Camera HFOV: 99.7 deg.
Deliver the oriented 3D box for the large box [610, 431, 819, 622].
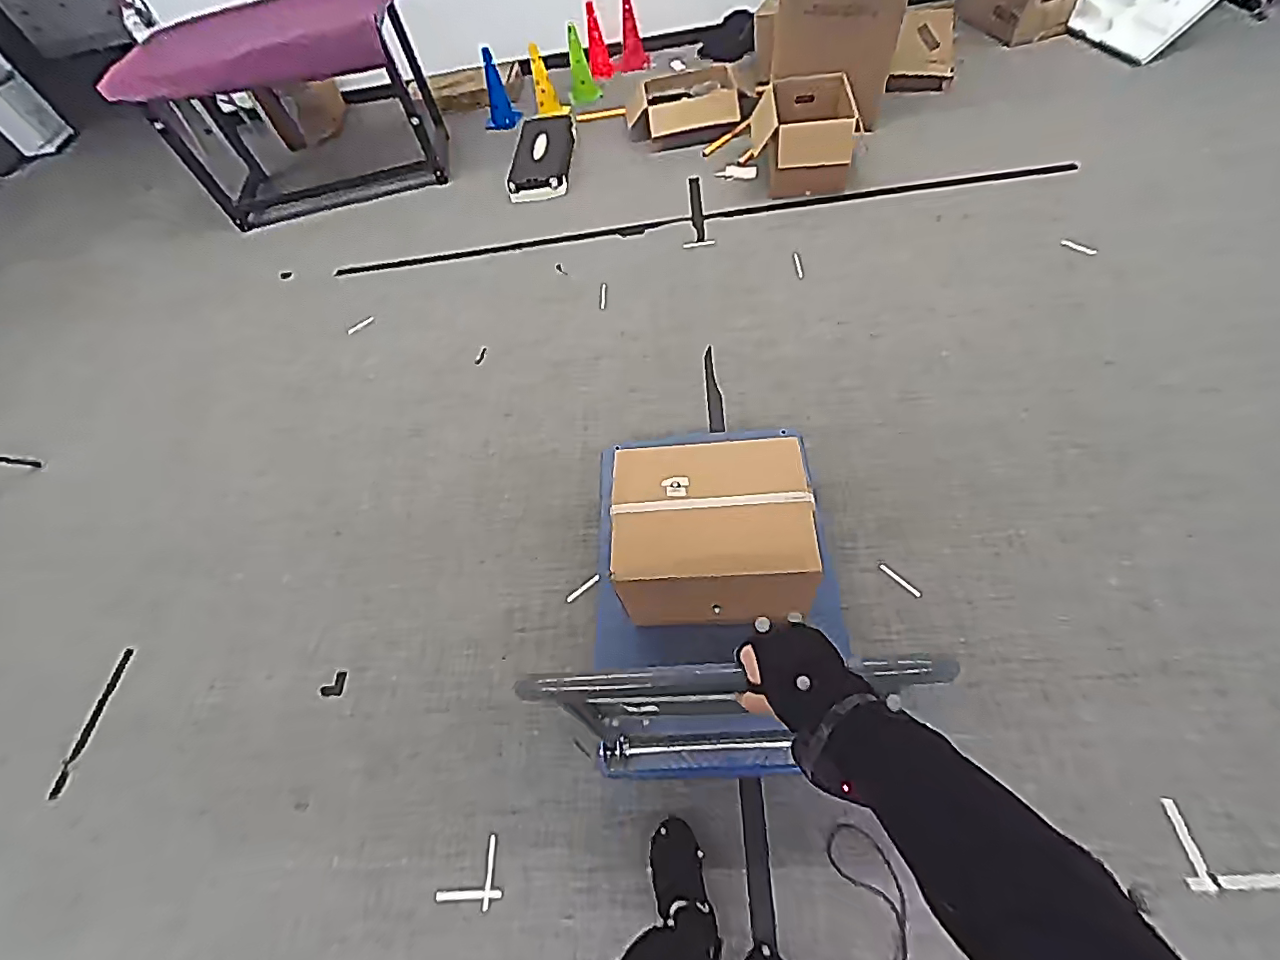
[{"bbox_3d":[0.161,0.121,1.229,0.408,0.320,0.320,-5,57,8],"label":"large box"}]
